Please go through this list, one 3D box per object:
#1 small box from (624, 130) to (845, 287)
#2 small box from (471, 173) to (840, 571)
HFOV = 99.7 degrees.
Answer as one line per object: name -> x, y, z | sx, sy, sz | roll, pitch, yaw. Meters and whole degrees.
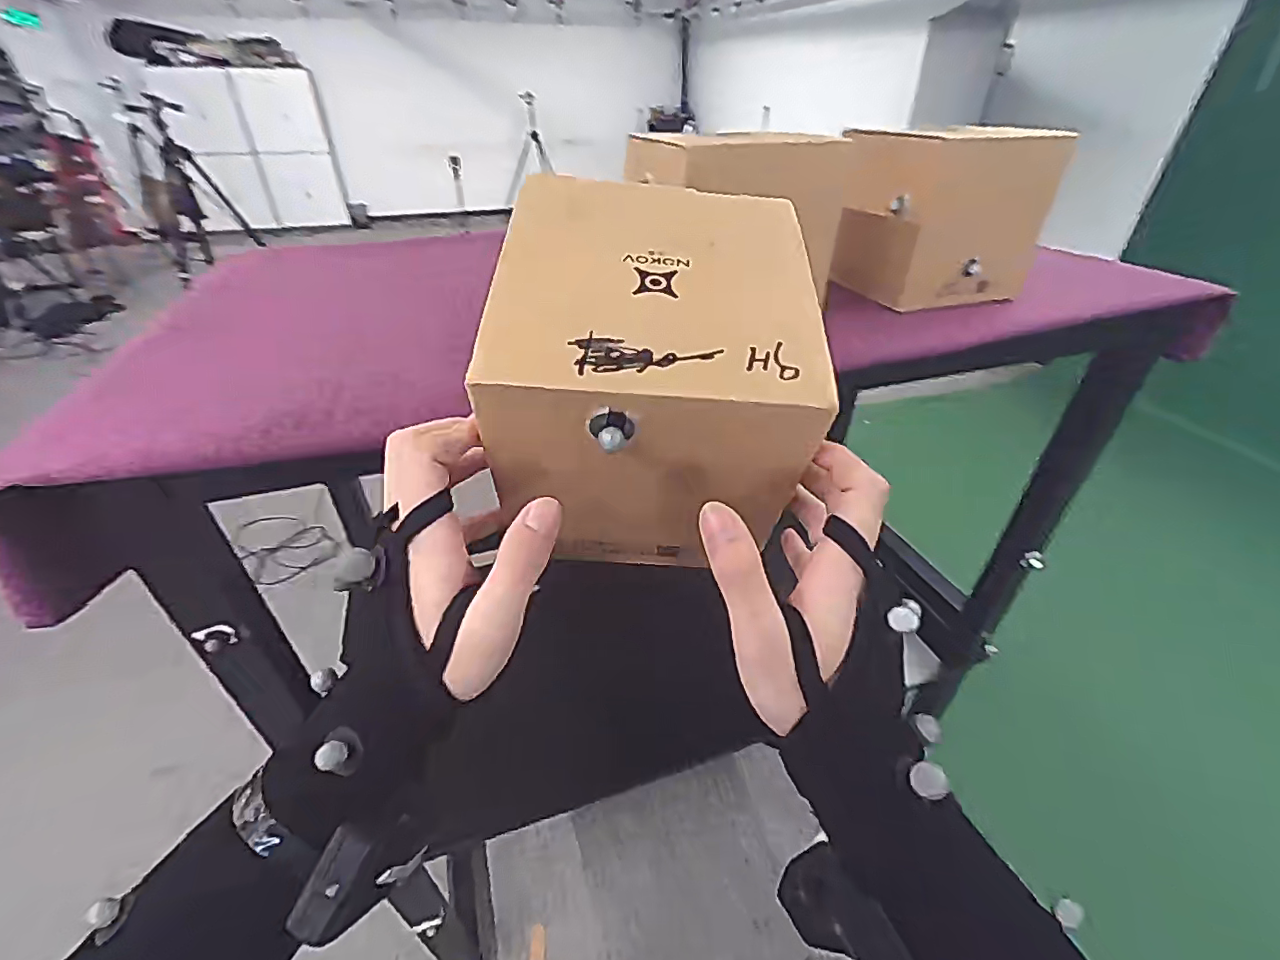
small box -> 0.082, -0.270, 0.576 | 0.168, 0.176, 0.179 | -11, 37, -15
small box -> 0.005, -0.062, 0.347 | 0.168, 0.176, 0.179 | 4, 55, -2
